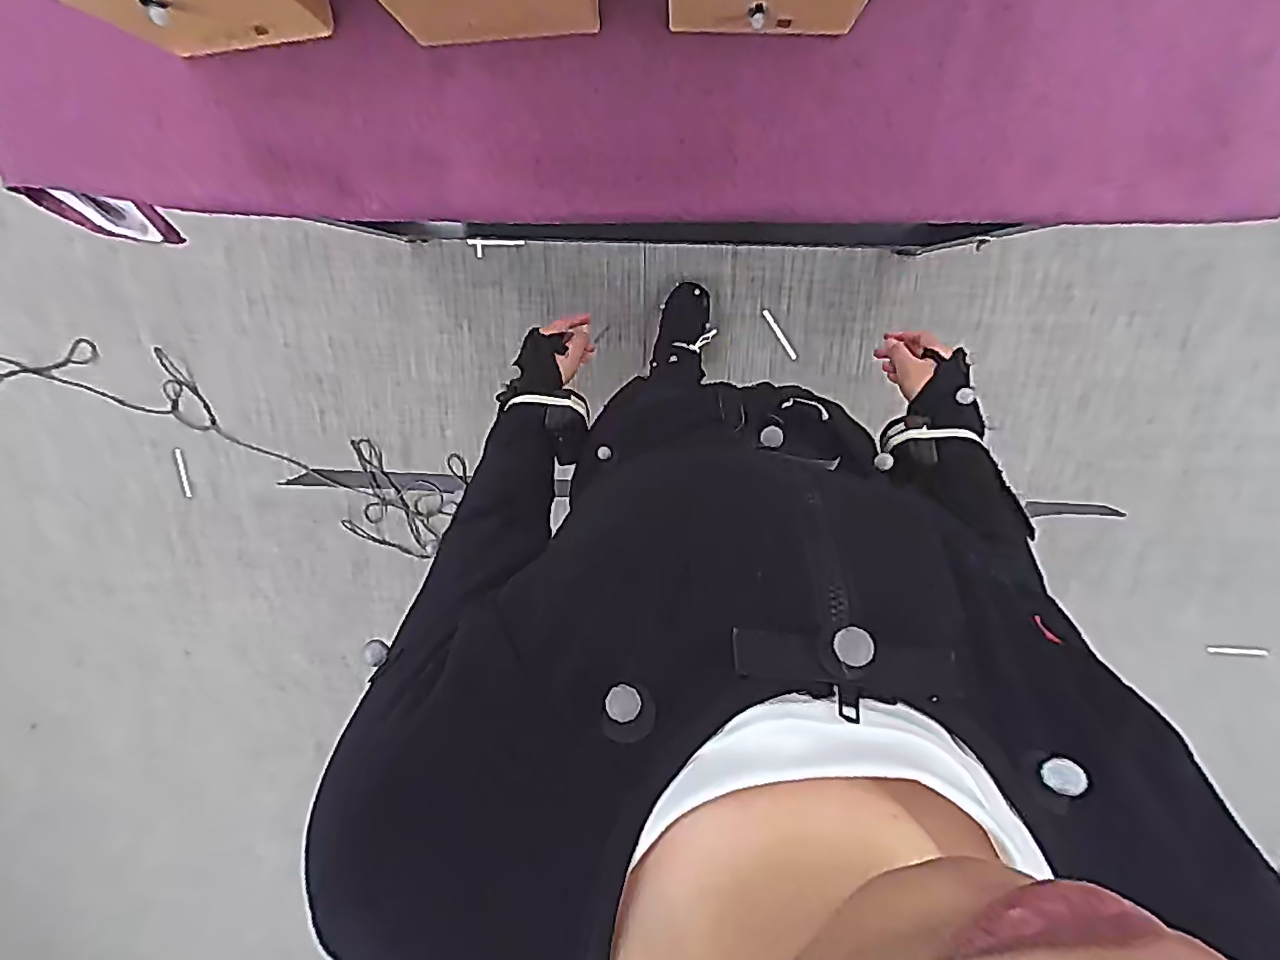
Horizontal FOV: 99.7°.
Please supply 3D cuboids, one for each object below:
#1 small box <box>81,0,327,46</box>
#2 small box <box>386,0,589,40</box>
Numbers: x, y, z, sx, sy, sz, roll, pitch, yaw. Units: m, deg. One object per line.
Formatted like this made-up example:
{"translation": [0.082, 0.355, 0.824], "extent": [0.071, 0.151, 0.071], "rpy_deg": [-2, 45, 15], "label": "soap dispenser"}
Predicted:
{"translation": [-0.387, -0.482, 0.429], "extent": [0.168, 0.176, 0.179], "rpy_deg": [-5, 107, 5], "label": "small box"}
{"translation": [-0.132, -0.476, 0.414], "extent": [0.179, 0.176, 0.168], "rpy_deg": [-2, 107, 3], "label": "small box"}
